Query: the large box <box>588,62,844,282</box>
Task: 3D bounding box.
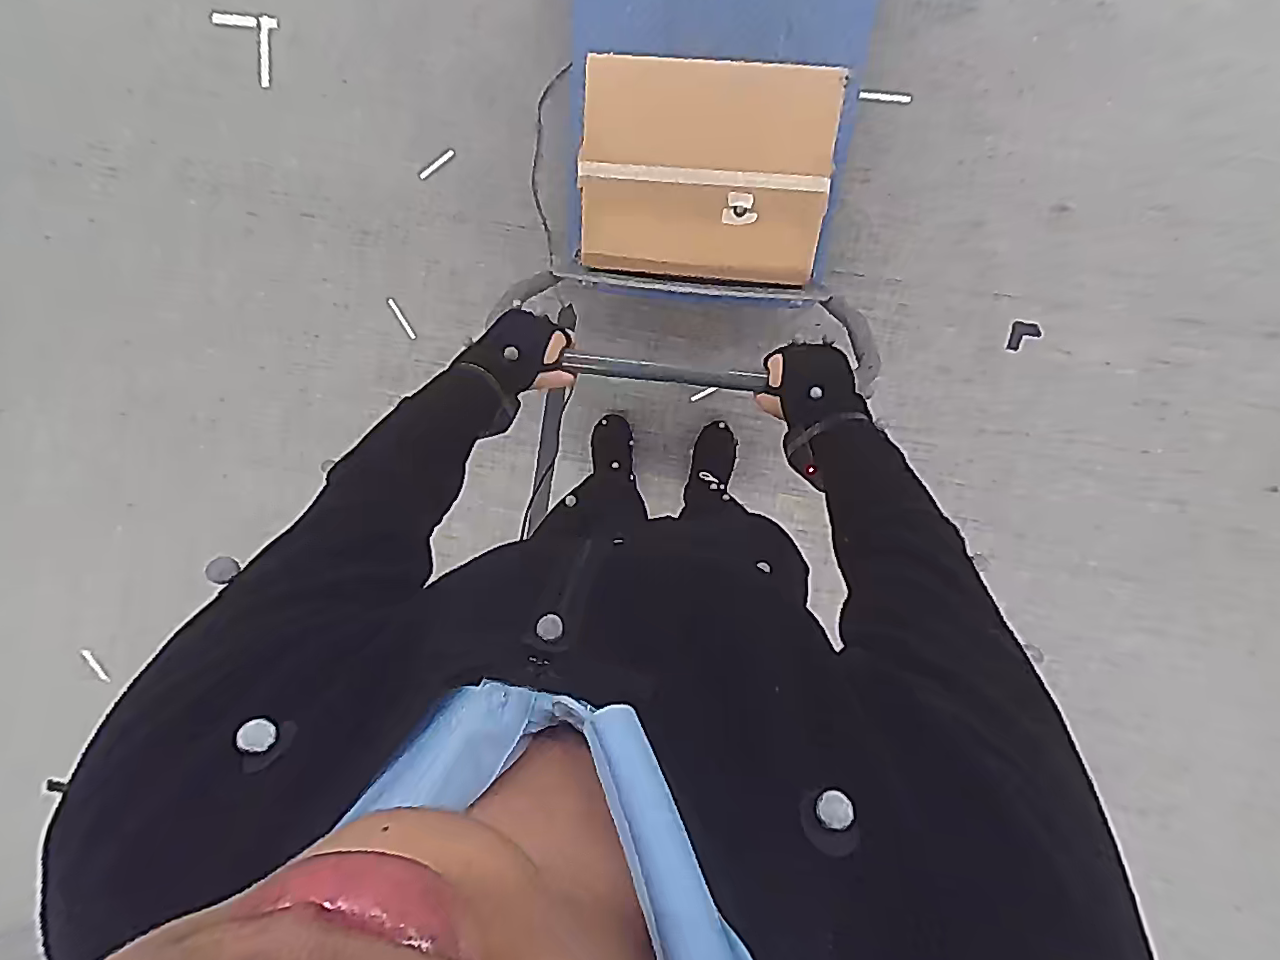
[{"bbox_3d":[0.123,-0.563,1.040,0.408,0.320,0.320,6,115,4],"label":"large box"}]
